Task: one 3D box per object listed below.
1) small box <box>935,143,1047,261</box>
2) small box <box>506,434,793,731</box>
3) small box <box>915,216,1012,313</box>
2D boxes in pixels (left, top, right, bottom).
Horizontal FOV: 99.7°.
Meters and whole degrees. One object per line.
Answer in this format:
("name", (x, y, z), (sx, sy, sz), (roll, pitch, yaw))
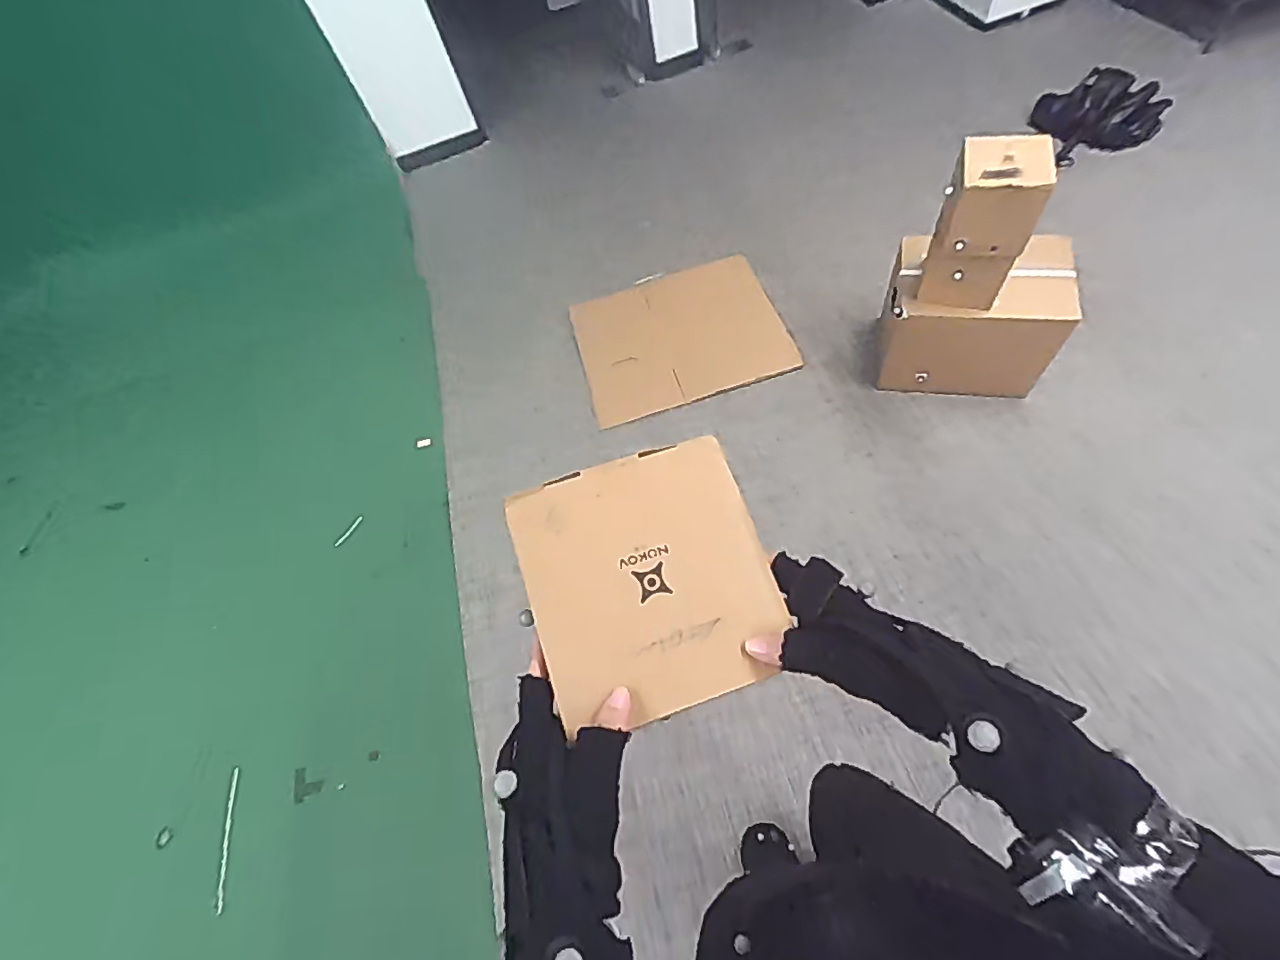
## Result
("small box", (0.769, -0.610, 1.204), (0.168, 0.176, 0.179), (6, 63, 16))
("small box", (-0.002, 0.089, 0.459), (0.168, 0.176, 0.179), (-17, 74, -8))
("small box", (0.805, -0.540, 1.352), (0.179, 0.176, 0.168), (12, 62, 17))
